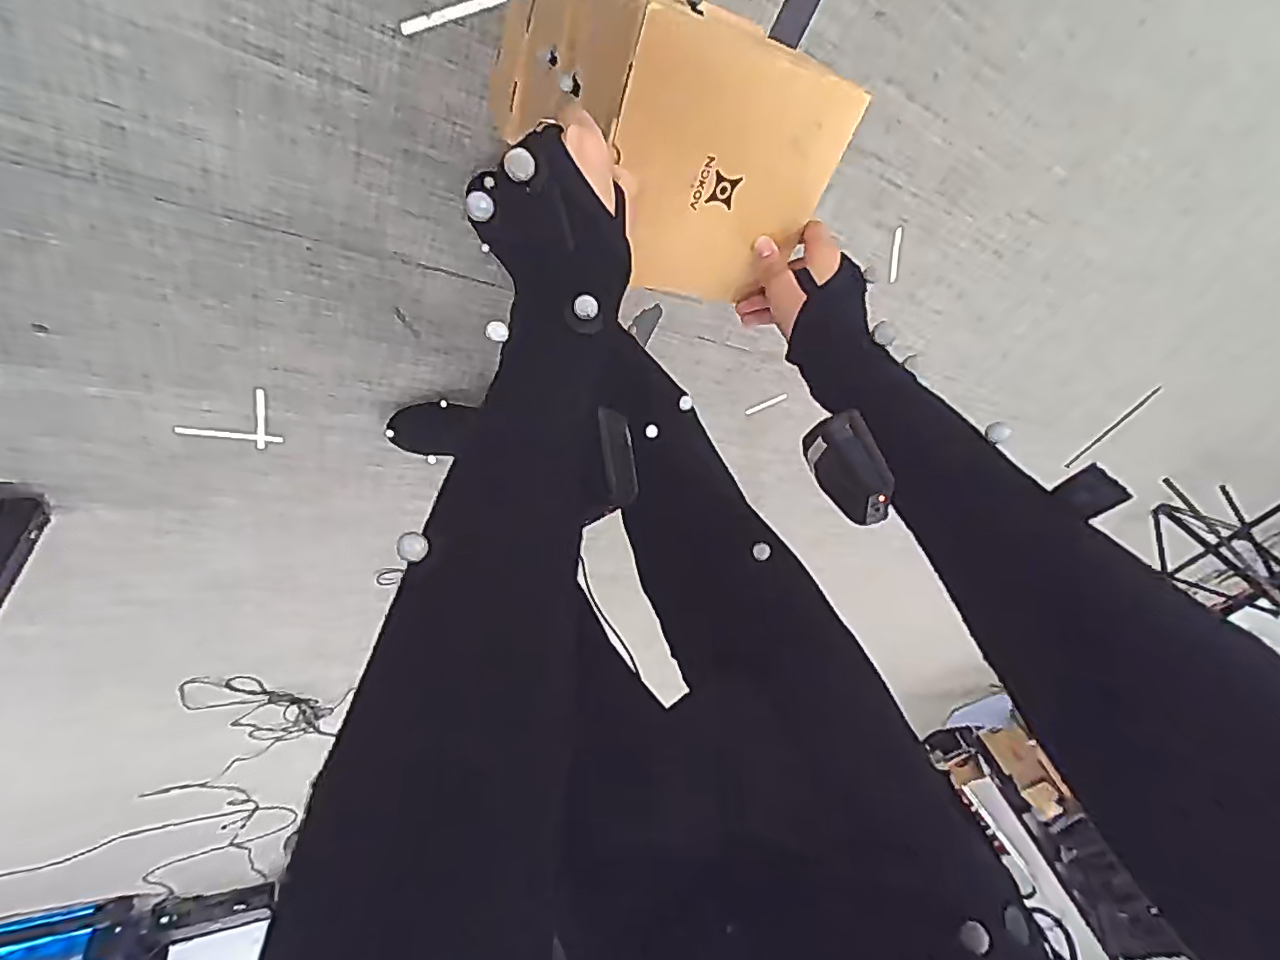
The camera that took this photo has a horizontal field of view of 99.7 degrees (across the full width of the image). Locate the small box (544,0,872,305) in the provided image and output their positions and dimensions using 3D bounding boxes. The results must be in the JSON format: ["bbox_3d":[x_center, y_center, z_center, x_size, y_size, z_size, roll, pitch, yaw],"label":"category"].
[{"bbox_3d":[0.035,-0.268,0.434,0.179,0.176,0.168,1,136,-24],"label":"small box"}]

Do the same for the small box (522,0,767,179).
[{"bbox_3d":[-0.013,-0.389,0.532,0.168,0.176,0.179,2,136,-25],"label":"small box"}]
